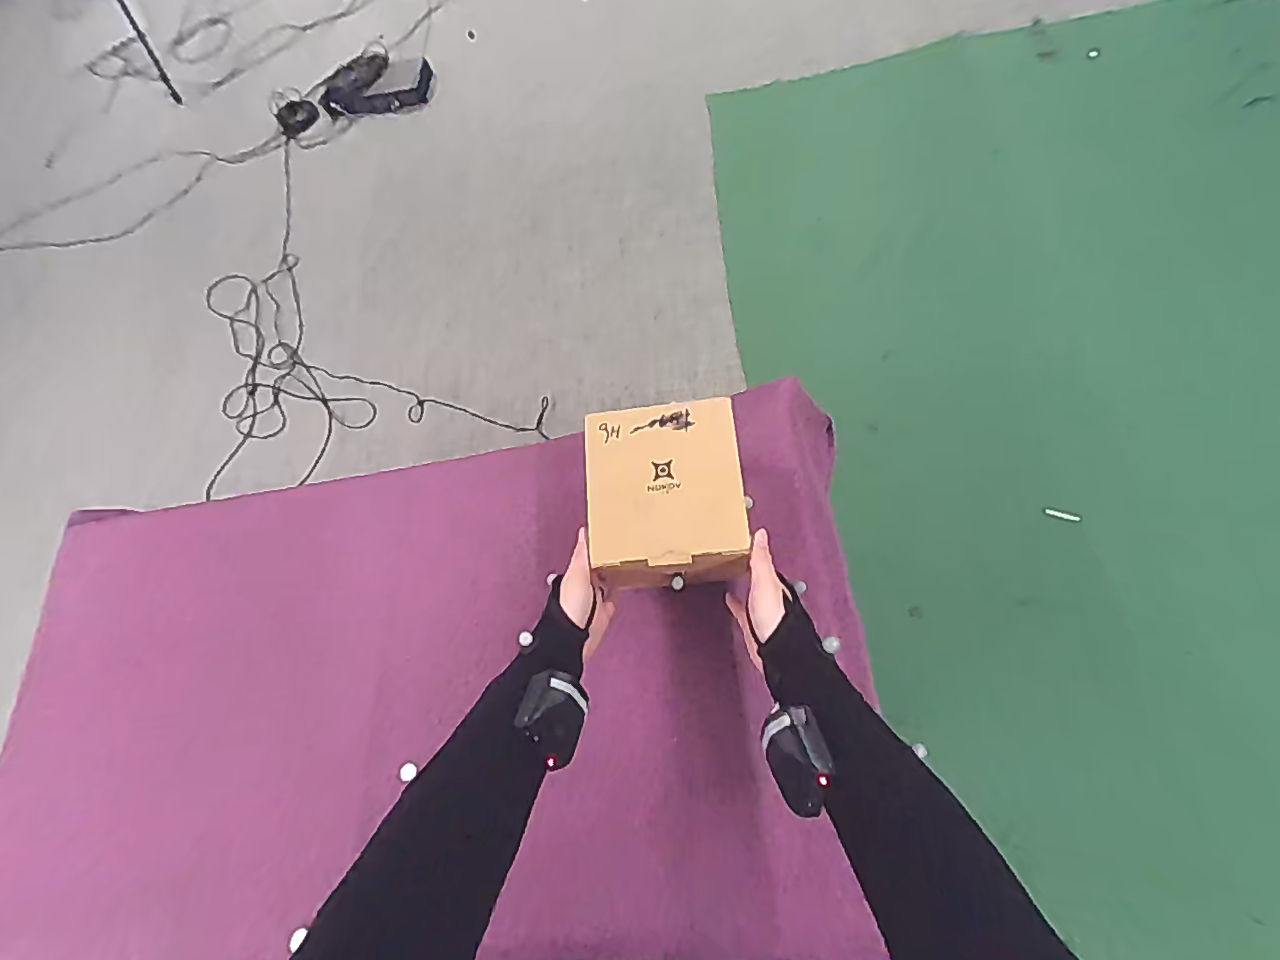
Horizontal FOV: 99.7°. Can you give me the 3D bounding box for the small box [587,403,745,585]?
[{"bbox_3d":[0.035,0.029,0.652,0.168,0.176,0.179,-6,70,6],"label":"small box"}]
